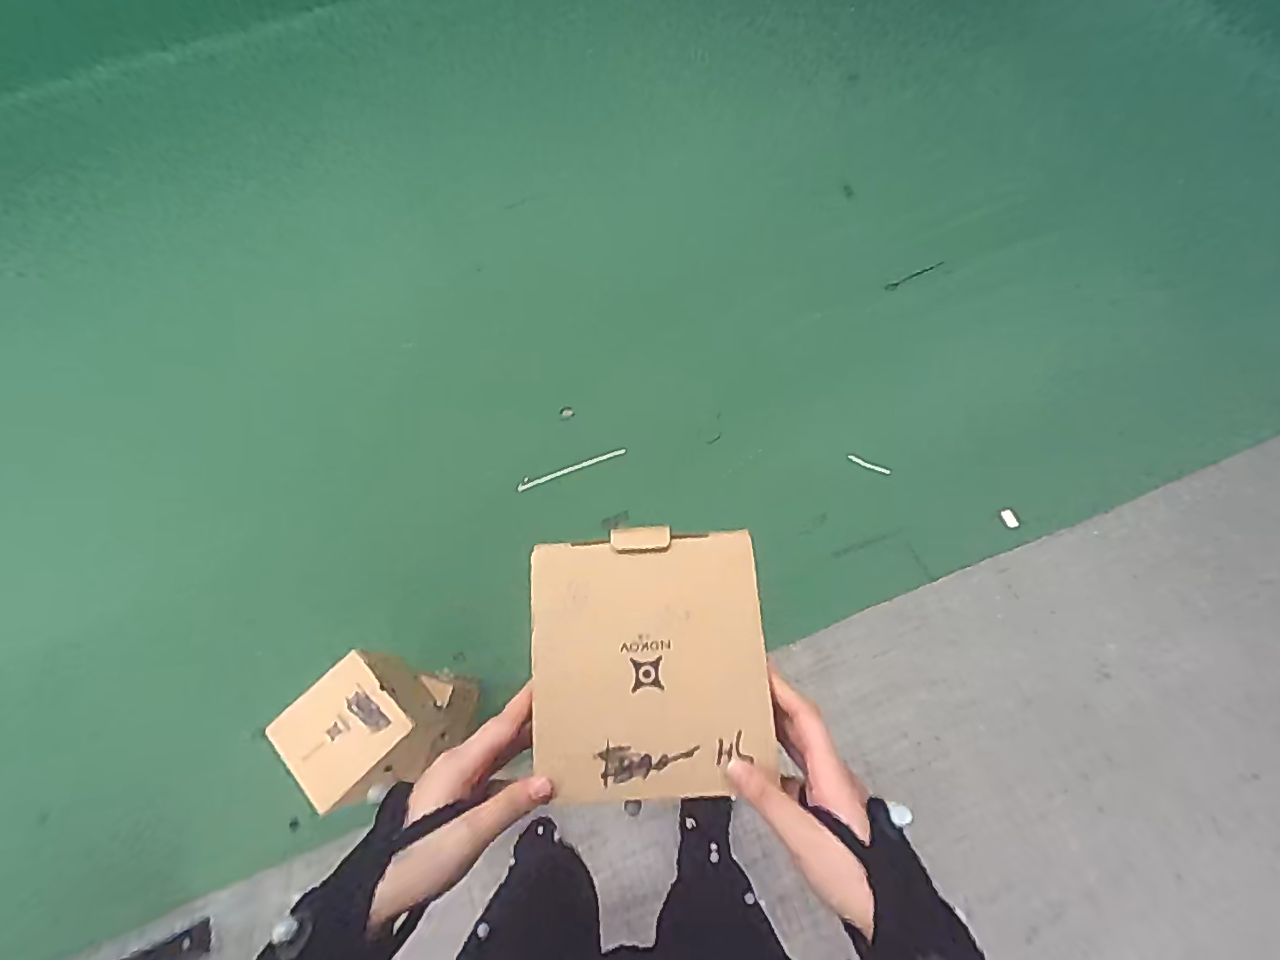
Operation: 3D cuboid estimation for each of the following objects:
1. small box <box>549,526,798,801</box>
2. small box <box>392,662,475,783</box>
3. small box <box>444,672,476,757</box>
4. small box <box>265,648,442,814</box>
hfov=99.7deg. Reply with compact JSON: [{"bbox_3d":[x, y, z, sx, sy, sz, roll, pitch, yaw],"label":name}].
[{"bbox_3d":[0.021,0.144,0.453,0.168,0.176,0.179,-5,75,2],"label":"small box"},{"bbox_3d":[-0.446,0.463,1.057,0.168,0.176,0.179,14,69,6],"label":"small box"},{"bbox_3d":[-0.471,0.529,1.207,0.168,0.176,0.179,-6,68,-1],"label":"small box"},{"bbox_3d":[-0.459,0.406,0.903,0.179,0.176,0.168,-43,74,-13],"label":"small box"}]
